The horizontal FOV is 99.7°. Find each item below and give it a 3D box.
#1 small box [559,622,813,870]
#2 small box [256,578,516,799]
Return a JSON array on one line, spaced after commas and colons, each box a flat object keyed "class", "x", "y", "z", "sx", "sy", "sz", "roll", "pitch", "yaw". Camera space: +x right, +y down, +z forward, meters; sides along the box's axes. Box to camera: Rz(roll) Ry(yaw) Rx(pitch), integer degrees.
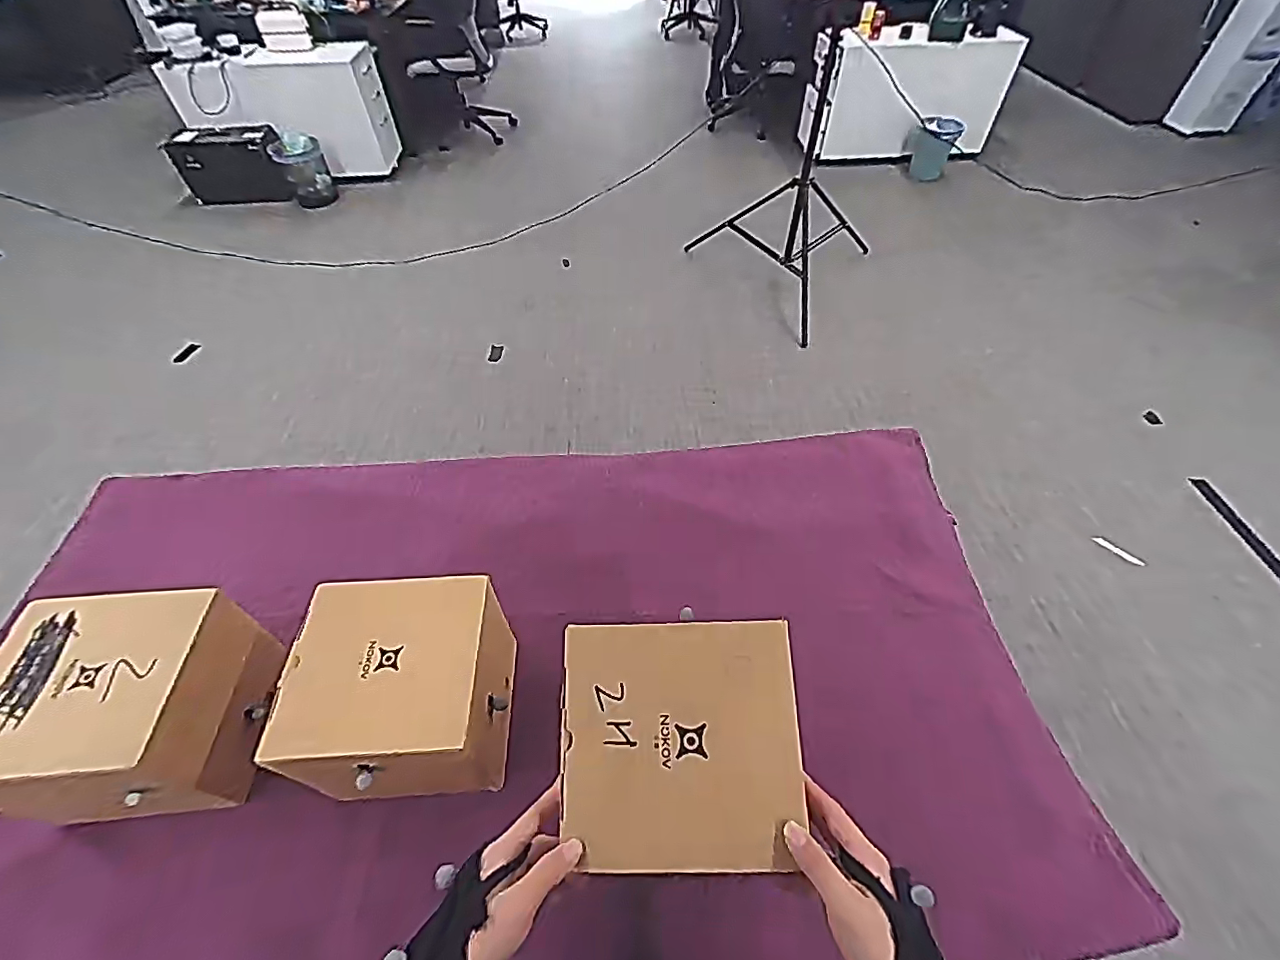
[{"class": "small box", "x": 0.034, "y": 0.213, "z": 0.468, "sx": 0.179, "sy": 0.176, "sz": 0.168, "roll": -3, "pitch": 70, "yaw": 3}, {"class": "small box", "x": -0.232, "y": 0.217, "z": 0.556, "sx": 0.179, "sy": 0.176, "sz": 0.168, "roll": -4, "pitch": 50, "yaw": -1}]
